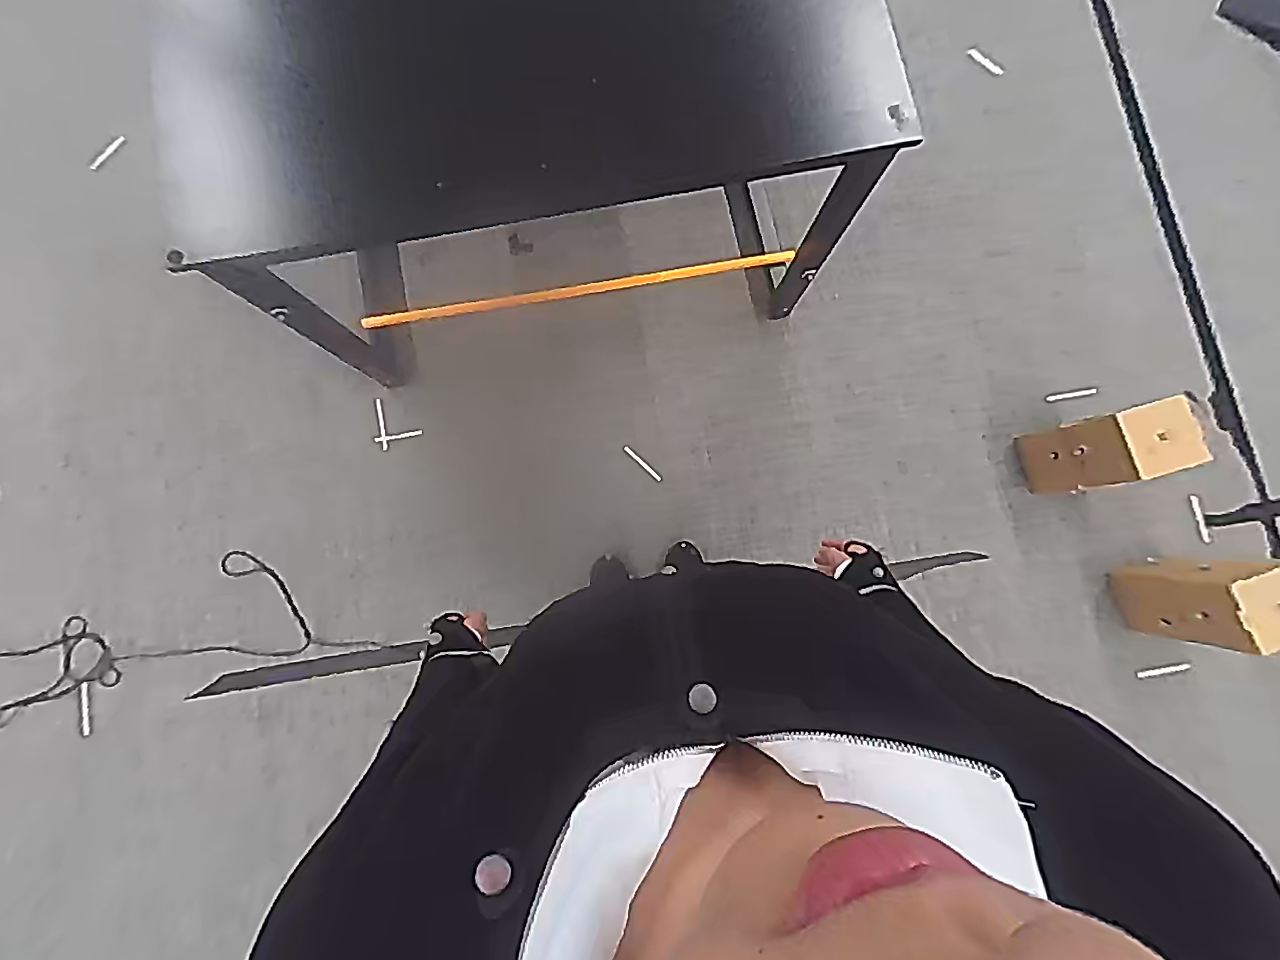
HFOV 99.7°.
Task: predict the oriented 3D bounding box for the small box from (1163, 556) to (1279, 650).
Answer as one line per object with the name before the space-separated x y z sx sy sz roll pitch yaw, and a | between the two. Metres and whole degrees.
small box | 1.401 0.282 1.276 0.179 0.176 0.168 -18 84 -2

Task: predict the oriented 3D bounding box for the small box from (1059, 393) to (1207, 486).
small box | 1.186 -0.093 1.314 0.179 0.176 0.168 -17 83 -1

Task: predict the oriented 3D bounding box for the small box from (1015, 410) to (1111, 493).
small box | 1.173 -0.072 1.476 0.168 0.176 0.179 -13 84 -2

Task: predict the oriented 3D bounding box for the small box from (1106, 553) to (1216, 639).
small box | 1.408 0.301 1.438 0.168 0.176 0.179 -16 84 -3
